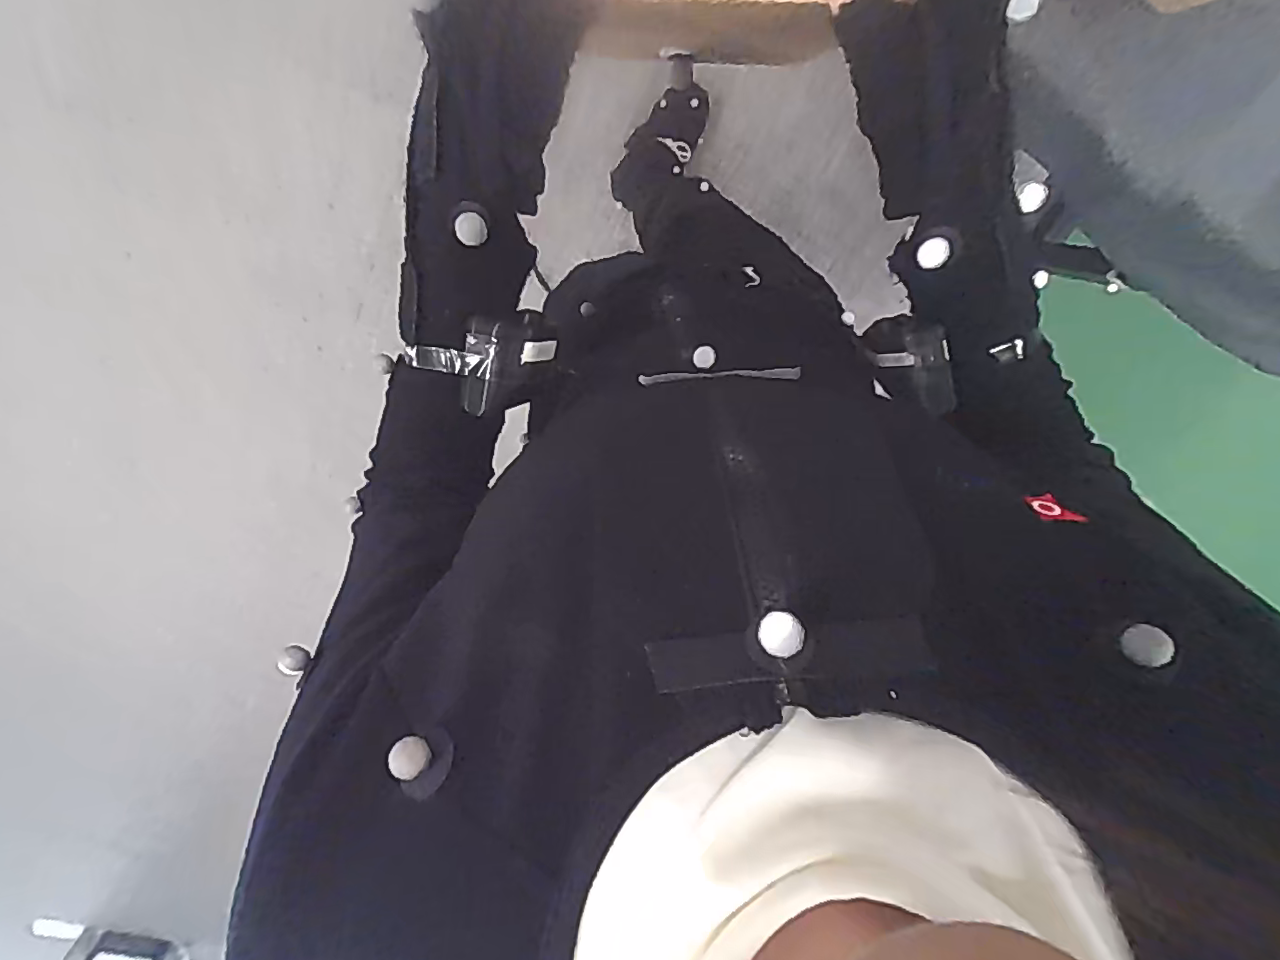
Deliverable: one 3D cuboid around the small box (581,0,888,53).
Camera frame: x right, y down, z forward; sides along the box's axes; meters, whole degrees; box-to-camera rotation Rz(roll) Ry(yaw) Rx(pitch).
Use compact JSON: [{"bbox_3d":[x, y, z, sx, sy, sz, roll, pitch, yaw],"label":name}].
[{"bbox_3d":[0.046,-0.345,0.274,0.168,0.176,0.179,-1,120,-3],"label":"small box"}]
